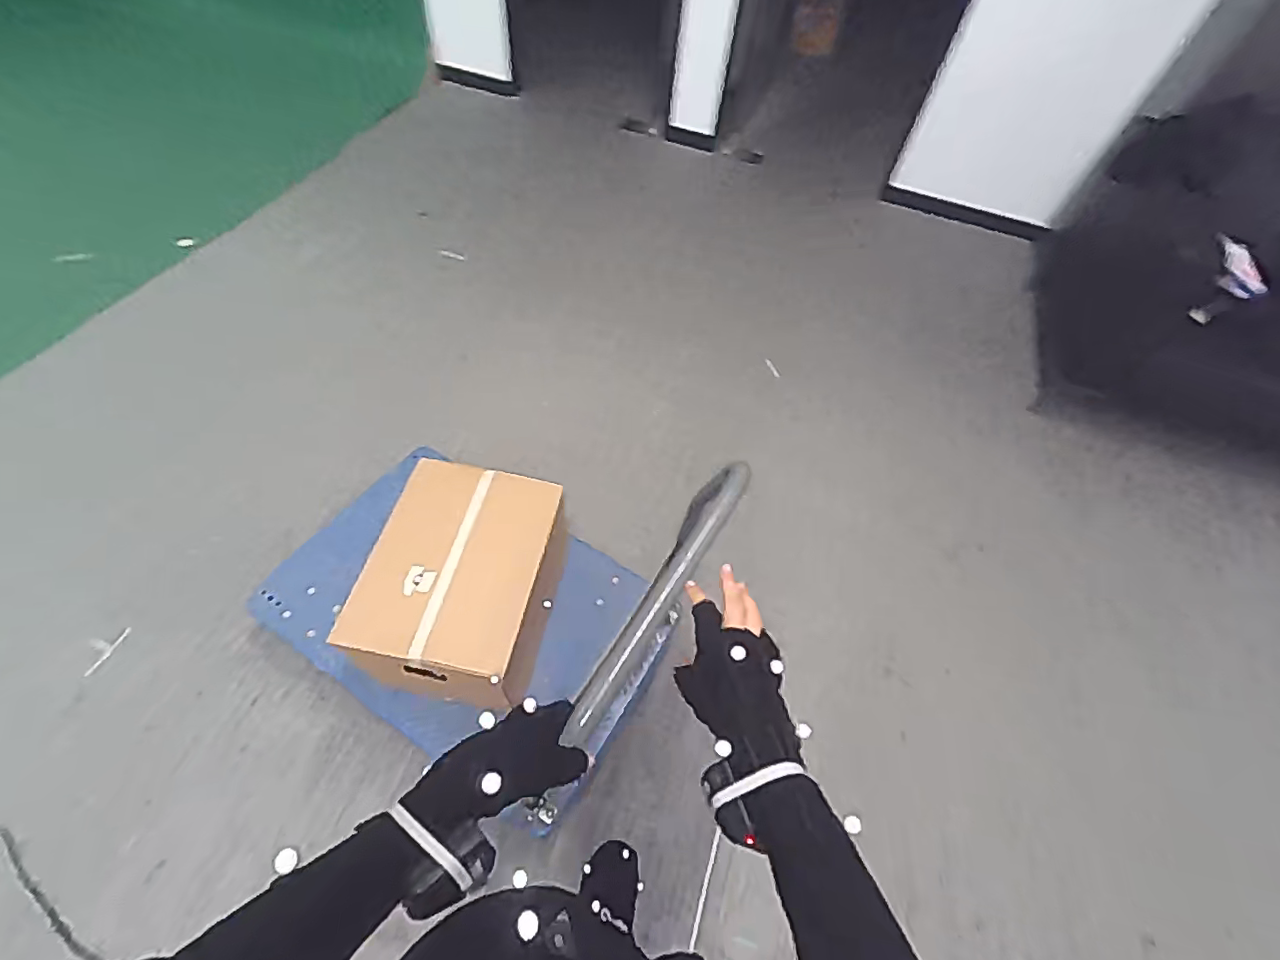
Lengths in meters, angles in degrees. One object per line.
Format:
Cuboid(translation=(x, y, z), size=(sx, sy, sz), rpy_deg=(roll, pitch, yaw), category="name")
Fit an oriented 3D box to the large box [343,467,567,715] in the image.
Cuboid(translation=(-0.351, 0.242, 1.165), size=(0.320, 0.320, 0.408), rpy_deg=(11, 56, 2), category="large box")
